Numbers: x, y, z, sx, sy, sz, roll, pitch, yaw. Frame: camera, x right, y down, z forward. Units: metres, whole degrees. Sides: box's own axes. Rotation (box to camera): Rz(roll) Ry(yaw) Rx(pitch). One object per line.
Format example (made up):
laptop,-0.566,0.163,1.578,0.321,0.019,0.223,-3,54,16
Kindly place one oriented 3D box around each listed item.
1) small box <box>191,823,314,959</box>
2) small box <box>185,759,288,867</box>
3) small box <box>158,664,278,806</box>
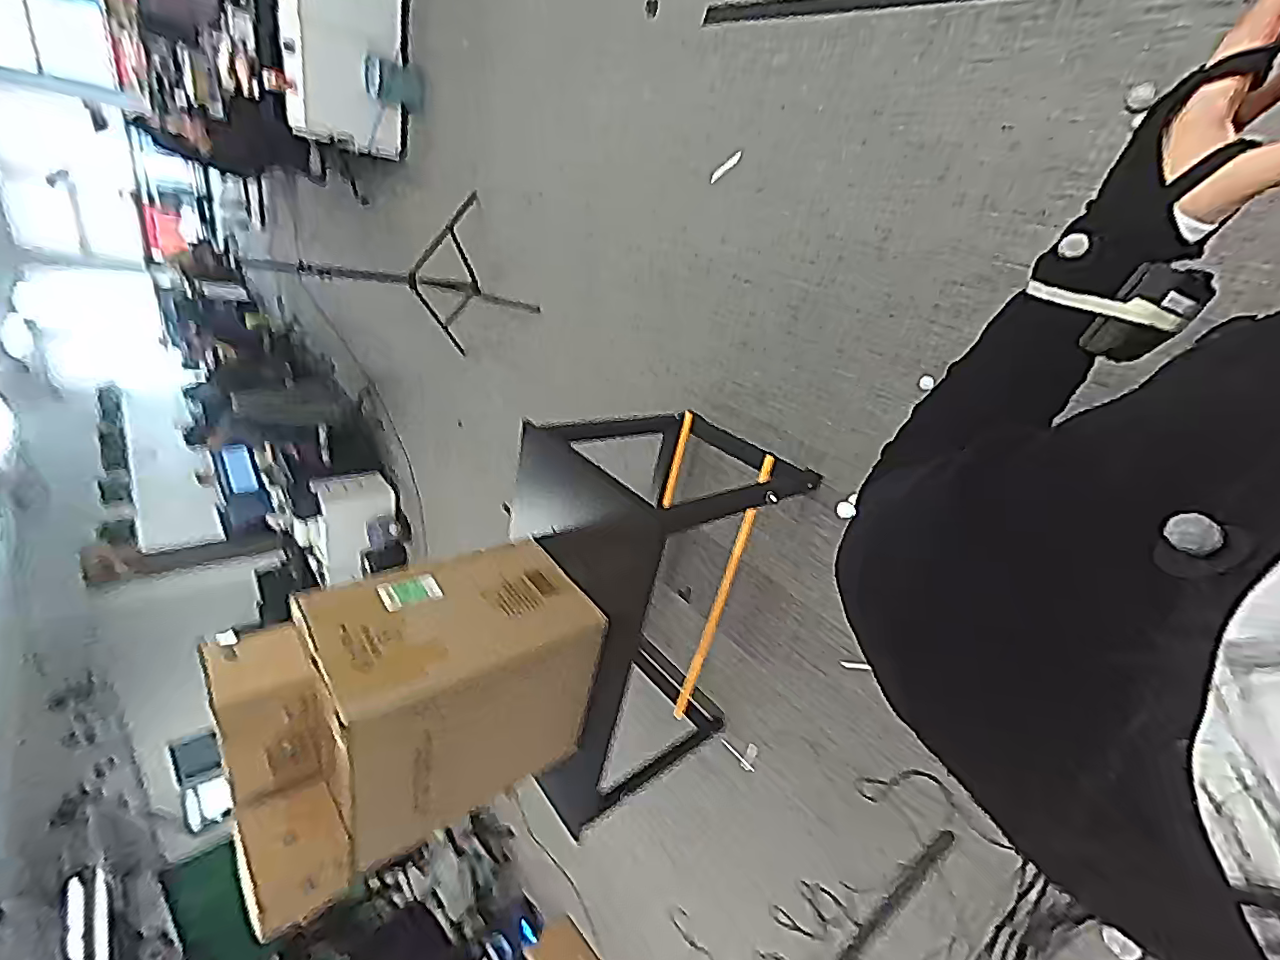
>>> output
small box,-0.771,0.845,1.085,0.179,0.176,0.168,29,116,38
small box,-0.903,0.757,1.216,0.168,0.176,0.179,37,123,38
small box,-0.851,0.501,1.097,0.179,0.176,0.168,36,125,40
